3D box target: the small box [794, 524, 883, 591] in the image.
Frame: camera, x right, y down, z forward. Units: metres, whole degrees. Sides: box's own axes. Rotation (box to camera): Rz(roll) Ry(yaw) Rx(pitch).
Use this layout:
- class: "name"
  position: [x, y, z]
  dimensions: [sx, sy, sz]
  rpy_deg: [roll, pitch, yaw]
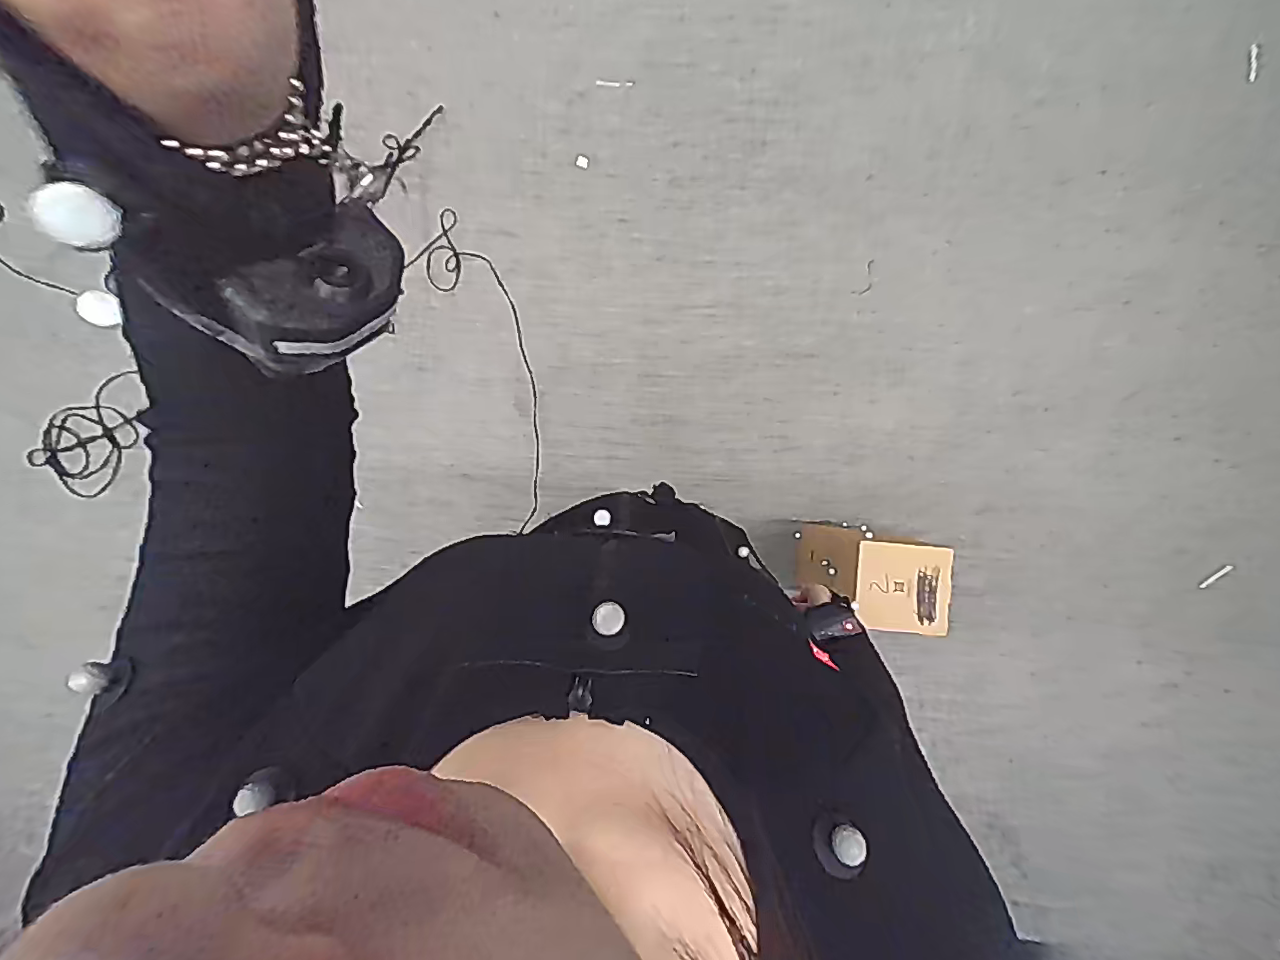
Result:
- class: "small box"
  position: [0.514, 0.207, 1.417]
  dimensions: [0.179, 0.176, 0.168]
  rpy_deg: [5, 89, 1]

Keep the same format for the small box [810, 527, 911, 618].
- class: "small box"
  position: [0.502, 0.206, 1.253]
  dimensions: [0.168, 0.176, 0.179]
  rpy_deg: [5, 90, 2]
